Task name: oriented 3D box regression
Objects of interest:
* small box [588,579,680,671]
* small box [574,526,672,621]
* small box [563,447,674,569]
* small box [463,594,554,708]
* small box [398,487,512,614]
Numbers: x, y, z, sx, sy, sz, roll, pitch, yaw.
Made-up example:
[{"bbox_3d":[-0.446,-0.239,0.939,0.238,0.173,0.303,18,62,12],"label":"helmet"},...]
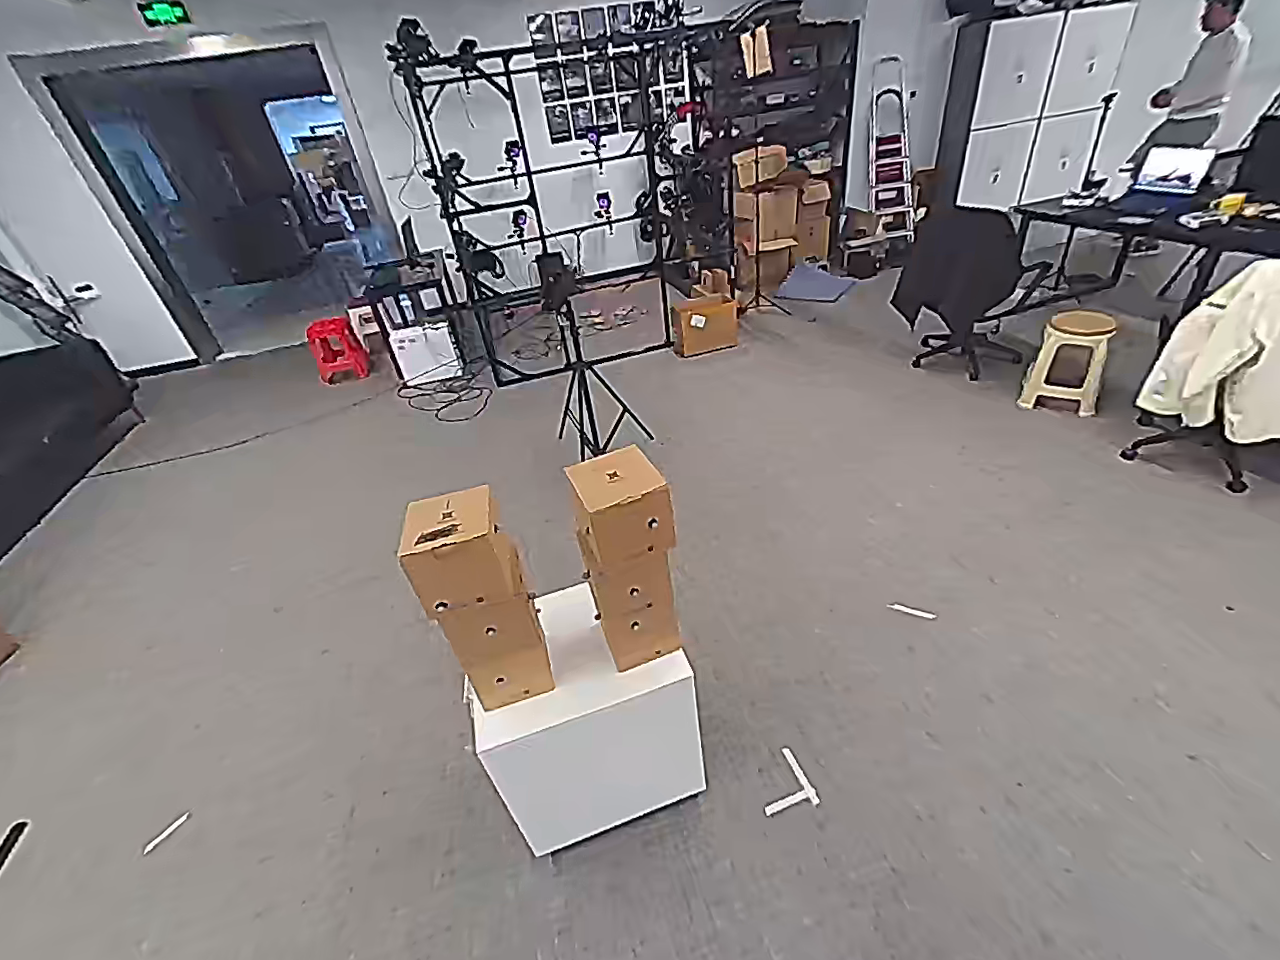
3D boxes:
[{"bbox_3d":[-0.014,0.325,1.311,0.168,0.176,0.179,-19,36,-11],"label":"small box"},{"bbox_3d":[-0.036,0.192,1.217,0.168,0.176,0.179,-17,36,-11],"label":"small box"},{"bbox_3d":[-0.041,0.062,1.116,0.168,0.176,0.179,-20,36,-15],"label":"small box"},{"bbox_3d":[-0.308,0.406,1.269,0.168,0.176,0.179,-15,35,-10],"label":"small box"},{"bbox_3d":[-0.357,0.144,1.075,0.168,0.176,0.179,-14,34,-7],"label":"small box"}]
